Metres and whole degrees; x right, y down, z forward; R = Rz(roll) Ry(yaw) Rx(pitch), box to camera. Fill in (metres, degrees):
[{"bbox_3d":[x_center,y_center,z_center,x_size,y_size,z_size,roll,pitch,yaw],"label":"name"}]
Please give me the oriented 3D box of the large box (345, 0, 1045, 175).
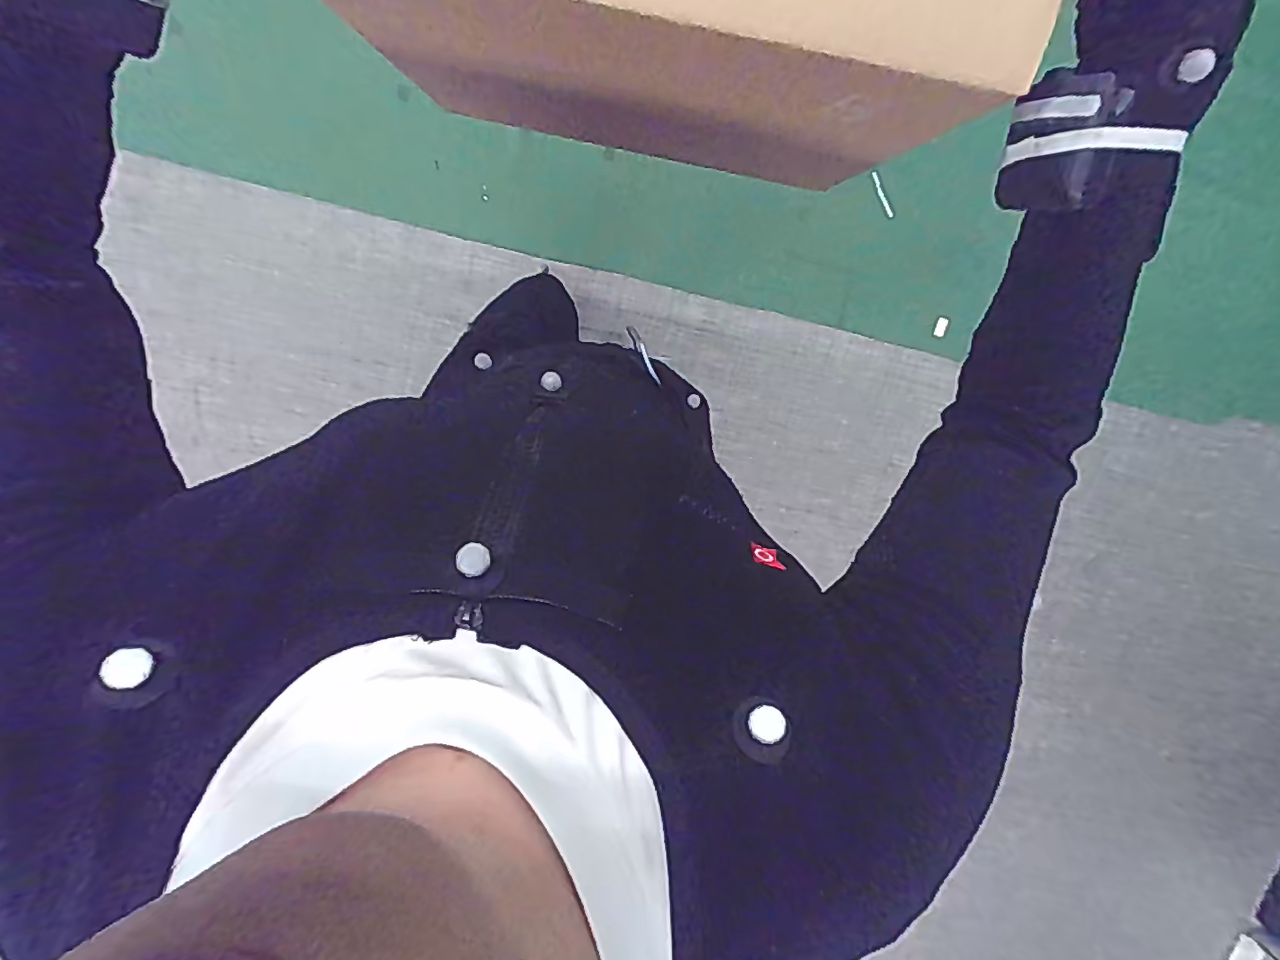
[{"bbox_3d":[0.029,-0.436,0.368,0.408,0.320,0.320,9,111,-4],"label":"large box"}]
